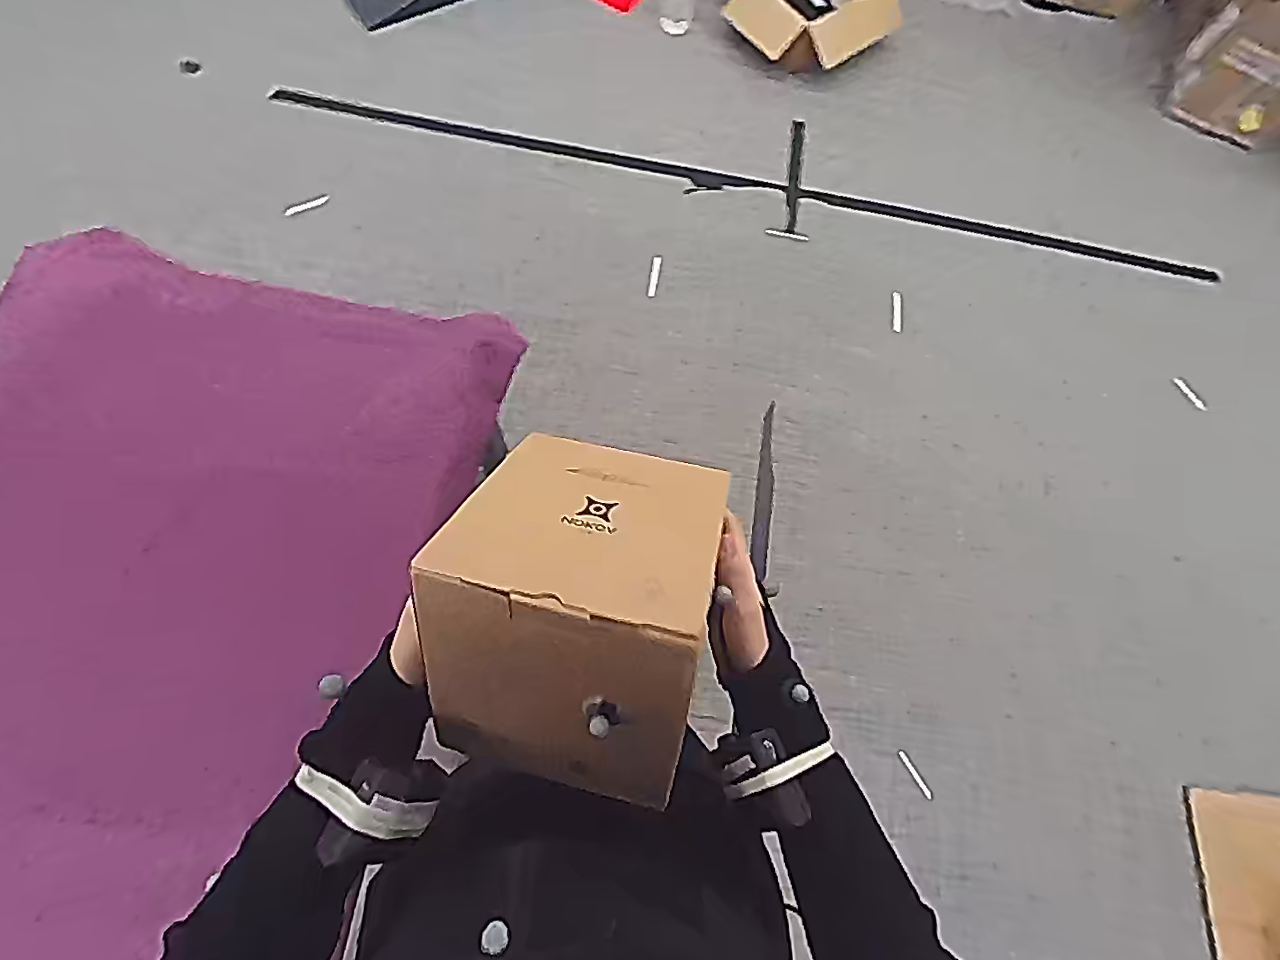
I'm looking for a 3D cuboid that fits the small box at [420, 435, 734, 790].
[{"bbox_3d":[-0.032,0.088,0.401,0.168,0.176,0.179,12,30,9],"label":"small box"}]

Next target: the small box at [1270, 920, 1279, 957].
[{"bbox_3d":[1.600,1.106,1.203,0.179,0.176,0.168,0,70,-5],"label":"small box"}]
